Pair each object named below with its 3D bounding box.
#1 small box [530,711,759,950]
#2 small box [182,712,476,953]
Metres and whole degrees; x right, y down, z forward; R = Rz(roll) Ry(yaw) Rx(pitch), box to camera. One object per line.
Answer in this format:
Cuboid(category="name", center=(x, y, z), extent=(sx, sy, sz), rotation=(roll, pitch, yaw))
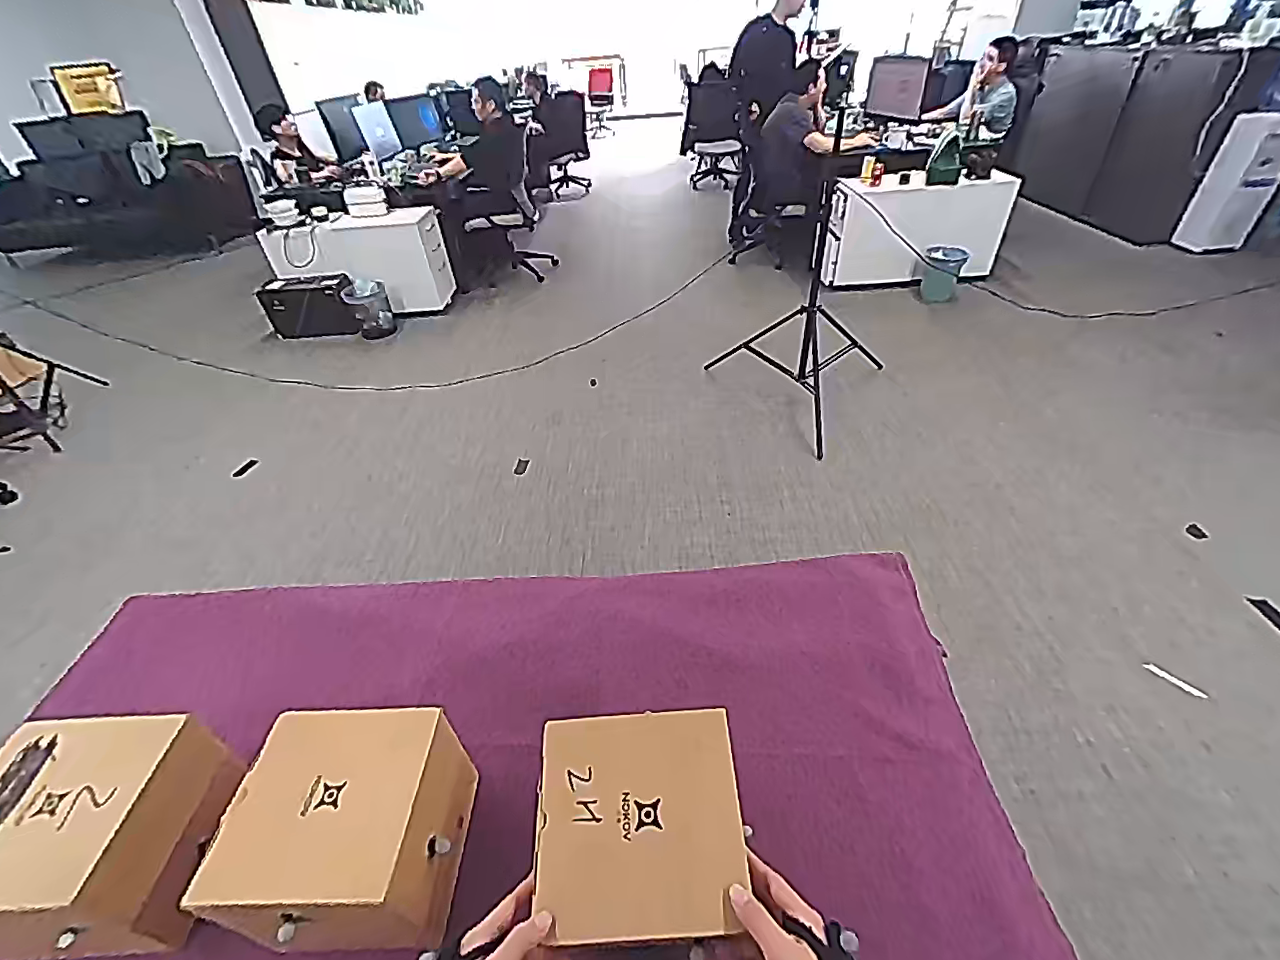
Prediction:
Cuboid(category="small box", center=(0.006, 0.336, 0.516), extent=(0.179, 0.176, 0.168), rotation=(-5, 48, 2))
Cuboid(category="small box", center=(-0.283, 0.356, 0.549), extent=(0.179, 0.176, 0.168), rotation=(-4, 39, 3))
